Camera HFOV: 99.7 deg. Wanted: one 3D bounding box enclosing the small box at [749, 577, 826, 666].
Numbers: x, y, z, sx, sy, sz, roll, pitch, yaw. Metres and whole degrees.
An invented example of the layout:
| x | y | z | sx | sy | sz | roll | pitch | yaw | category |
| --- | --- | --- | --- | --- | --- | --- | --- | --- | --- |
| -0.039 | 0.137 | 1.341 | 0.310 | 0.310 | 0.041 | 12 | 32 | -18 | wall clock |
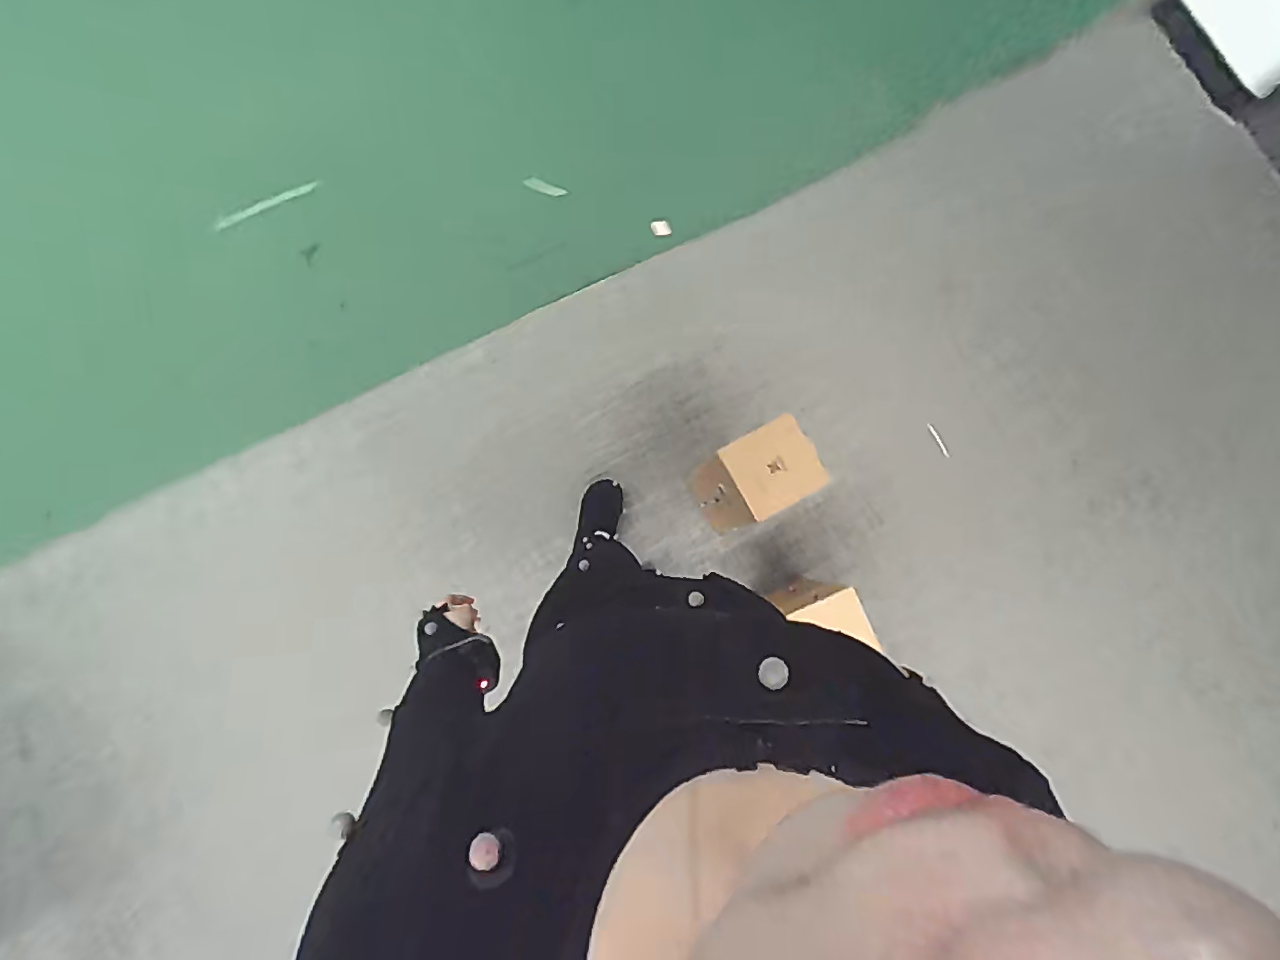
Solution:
| x | y | z | sx | sy | sz | roll | pitch | yaw | category |
| --- | --- | --- | --- | --- | --- | --- | --- | --- | --- |
| 0.411 | 0.364 | 1.427 | 0.179 | 0.176 | 0.168 | -20 | 84 | -4 | small box |

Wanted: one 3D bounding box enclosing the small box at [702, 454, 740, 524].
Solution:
| x | y | z | sx | sy | sz | roll | pitch | yaw | category |
| --- | --- | --- | --- | --- | --- | --- | --- | --- | --- |
| 0.261 | -0.004 | 1.299 | 0.179 | 0.176 | 0.168 | -29 | 85 | -5 | small box |

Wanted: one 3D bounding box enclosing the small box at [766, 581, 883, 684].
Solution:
| x | y | z | sx | sy | sz | roll | pitch | yaw | category |
| --- | --- | --- | --- | --- | --- | --- | --- | --- | --- |
| 0.422 | 0.346 | 1.264 | 0.179 | 0.176 | 0.168 | -22 | 84 | -5 | small box |

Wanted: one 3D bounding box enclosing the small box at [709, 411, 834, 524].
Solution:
| x | y | z | sx | sy | sz | roll | pitch | yaw | category |
| --- | --- | --- | --- | --- | --- | --- | --- | --- | --- |
| 0.266 | -0.019 | 1.137 | 0.179 | 0.176 | 0.168 | -28 | 83 | -5 | small box |
